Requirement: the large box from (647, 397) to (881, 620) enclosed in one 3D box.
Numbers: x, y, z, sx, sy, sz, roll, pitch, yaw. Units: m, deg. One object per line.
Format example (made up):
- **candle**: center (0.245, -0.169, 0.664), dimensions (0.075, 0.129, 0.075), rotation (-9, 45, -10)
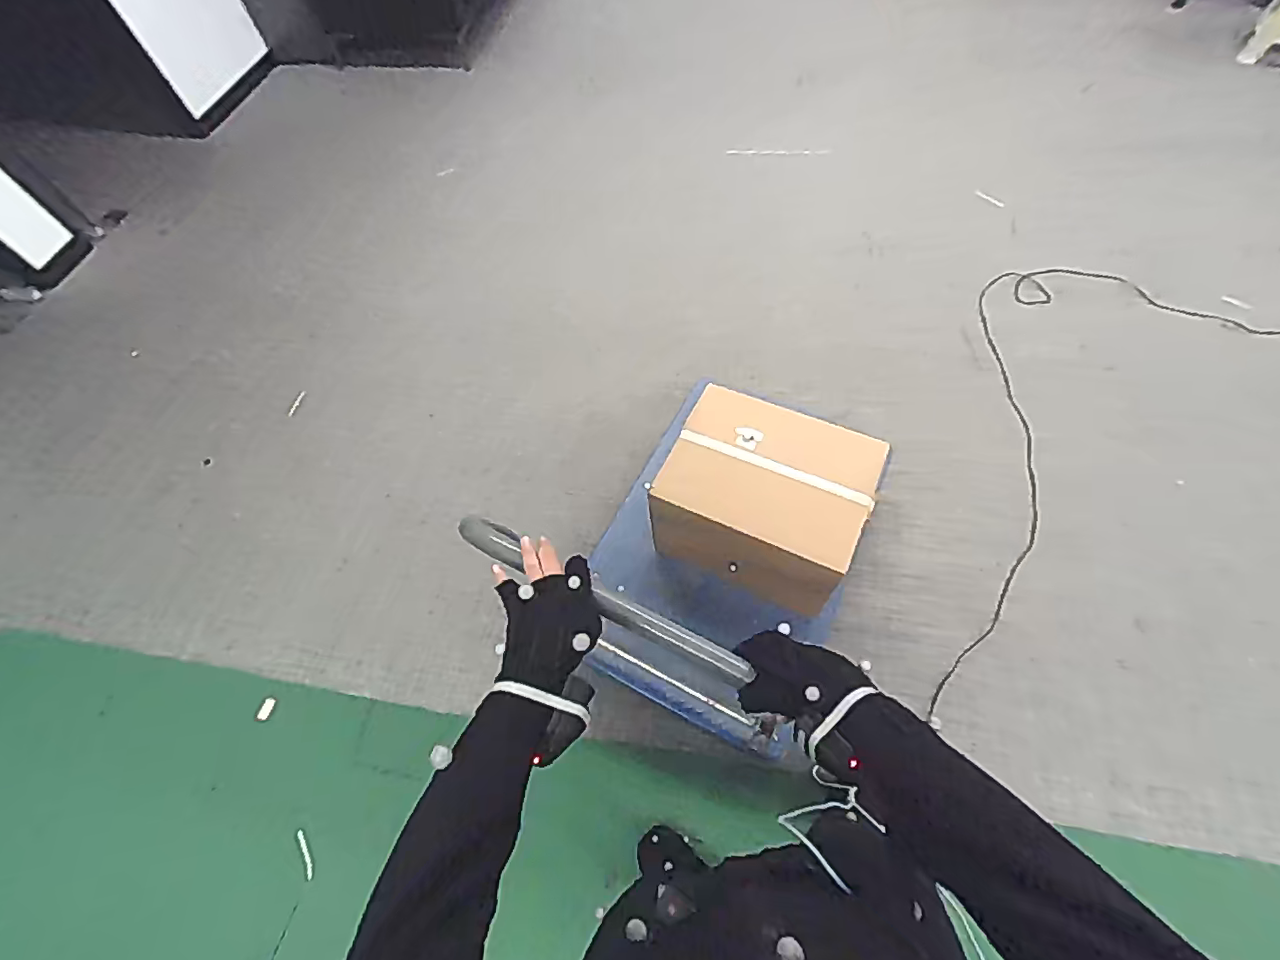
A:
- **large box**: center (0.273, 0.069, 1.233), dimensions (0.408, 0.320, 0.320), rotation (21, 63, 18)
